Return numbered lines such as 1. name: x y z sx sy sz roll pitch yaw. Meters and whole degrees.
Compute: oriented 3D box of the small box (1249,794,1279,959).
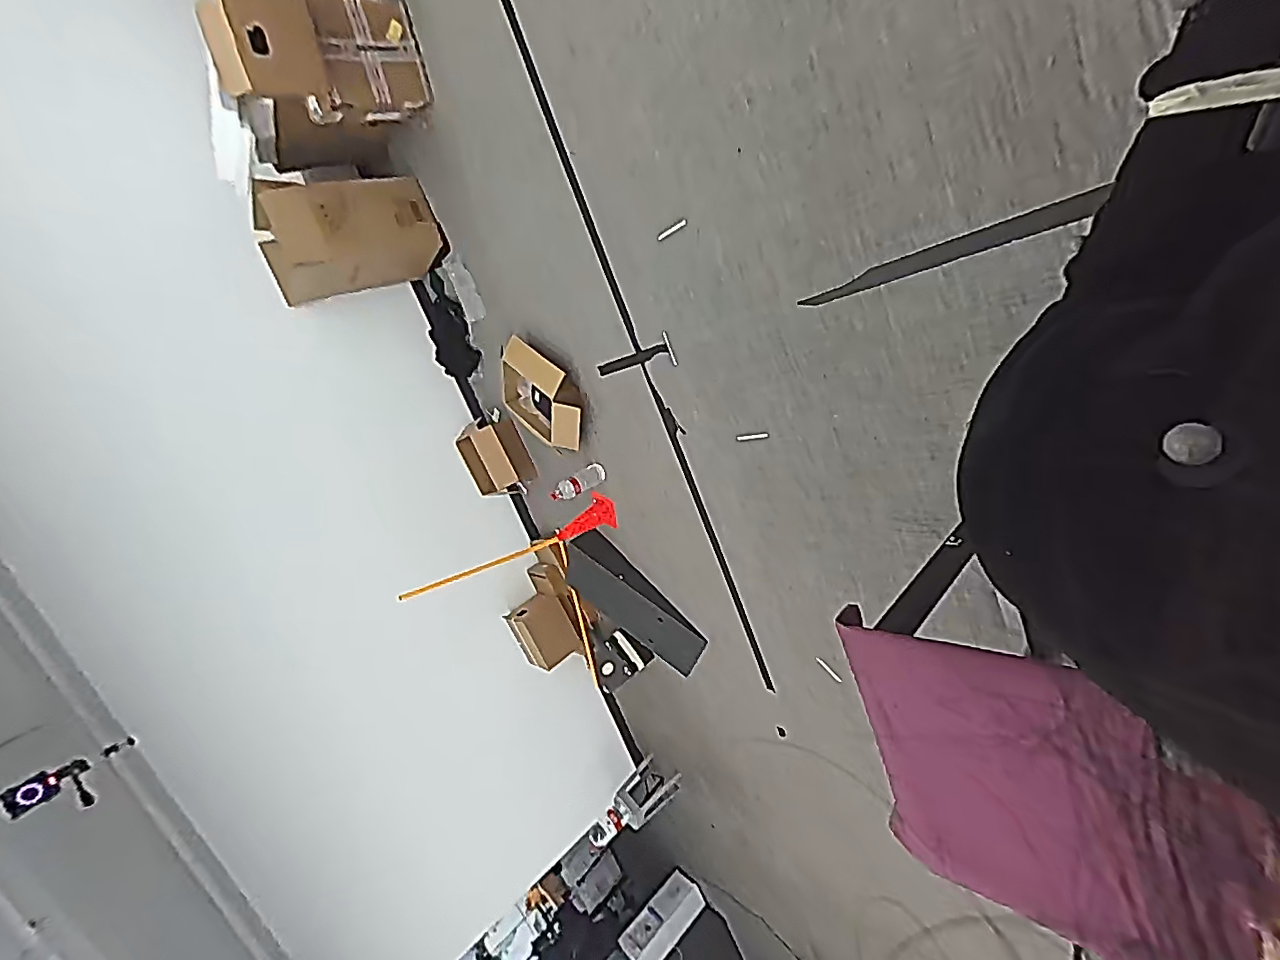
1. small box: 0.803 0.501 0.595 0.168 0.176 0.179 0 115 51
